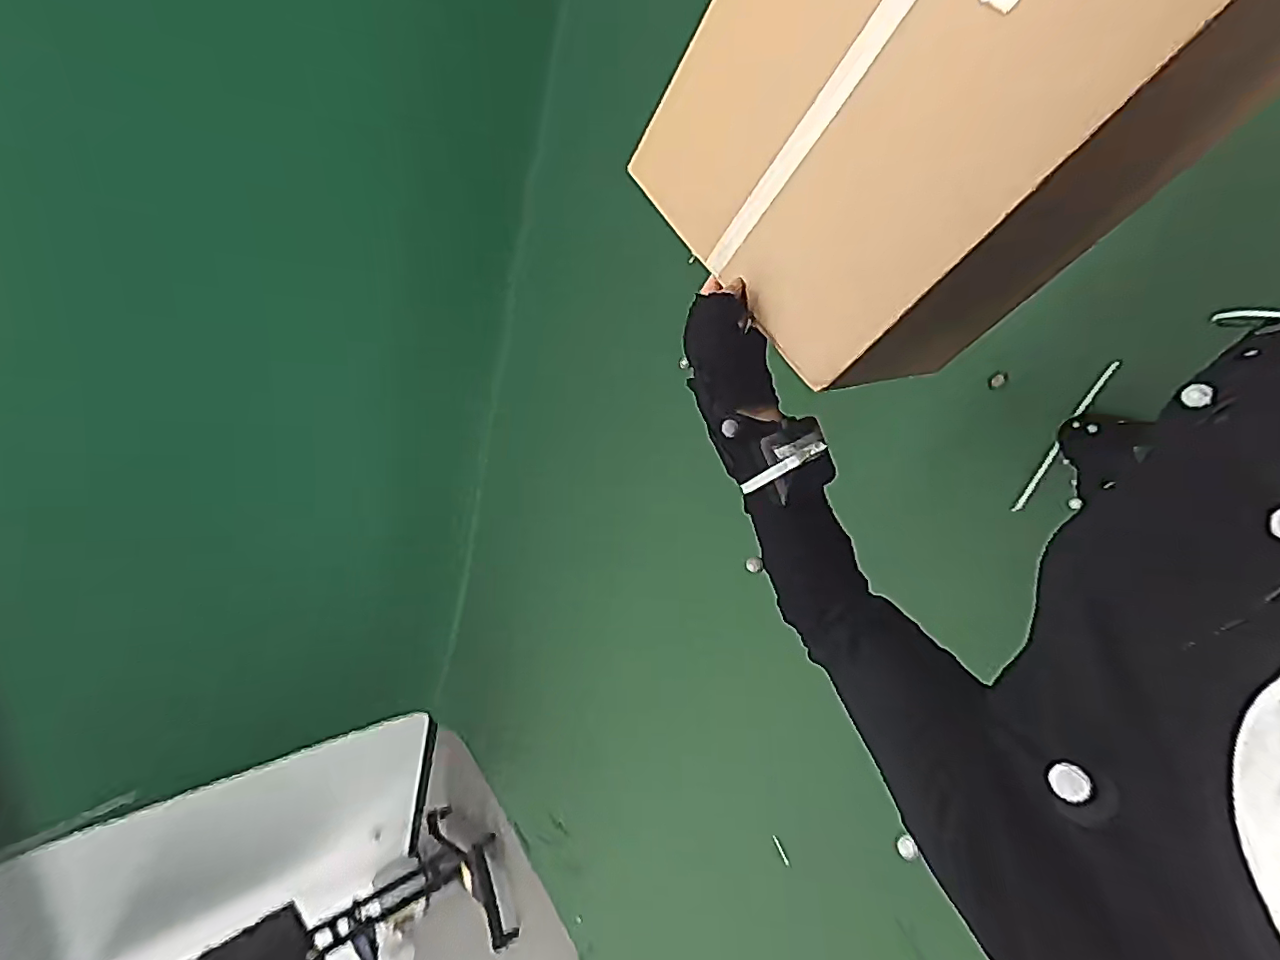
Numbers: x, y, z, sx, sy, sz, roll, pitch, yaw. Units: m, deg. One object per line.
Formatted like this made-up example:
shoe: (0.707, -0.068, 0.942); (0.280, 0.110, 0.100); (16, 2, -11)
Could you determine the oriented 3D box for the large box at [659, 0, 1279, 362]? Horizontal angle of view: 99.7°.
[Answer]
large box: (0.294, -0.357, 0.483); (0.320, 0.320, 0.408); (57, 134, 18)
